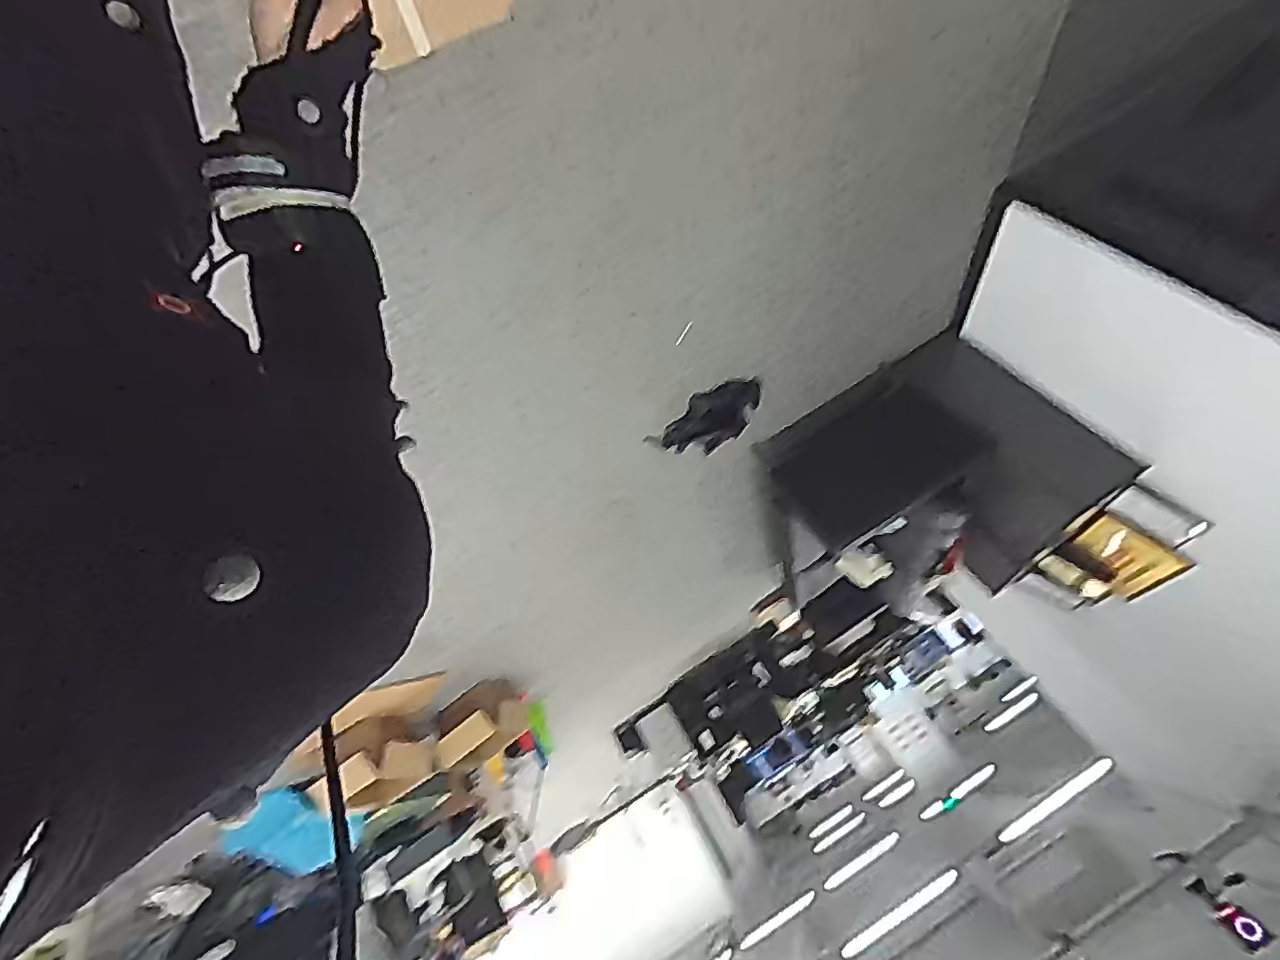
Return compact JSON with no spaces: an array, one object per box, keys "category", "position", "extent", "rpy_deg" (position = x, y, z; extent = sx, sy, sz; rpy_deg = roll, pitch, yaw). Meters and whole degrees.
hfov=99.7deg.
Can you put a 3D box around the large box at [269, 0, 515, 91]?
[{"category":"large box","position":[-0.420,-0.830,0.696],"extent":[0.320,0.320,0.408],"rpy_deg":[-29,150,-8]}]
